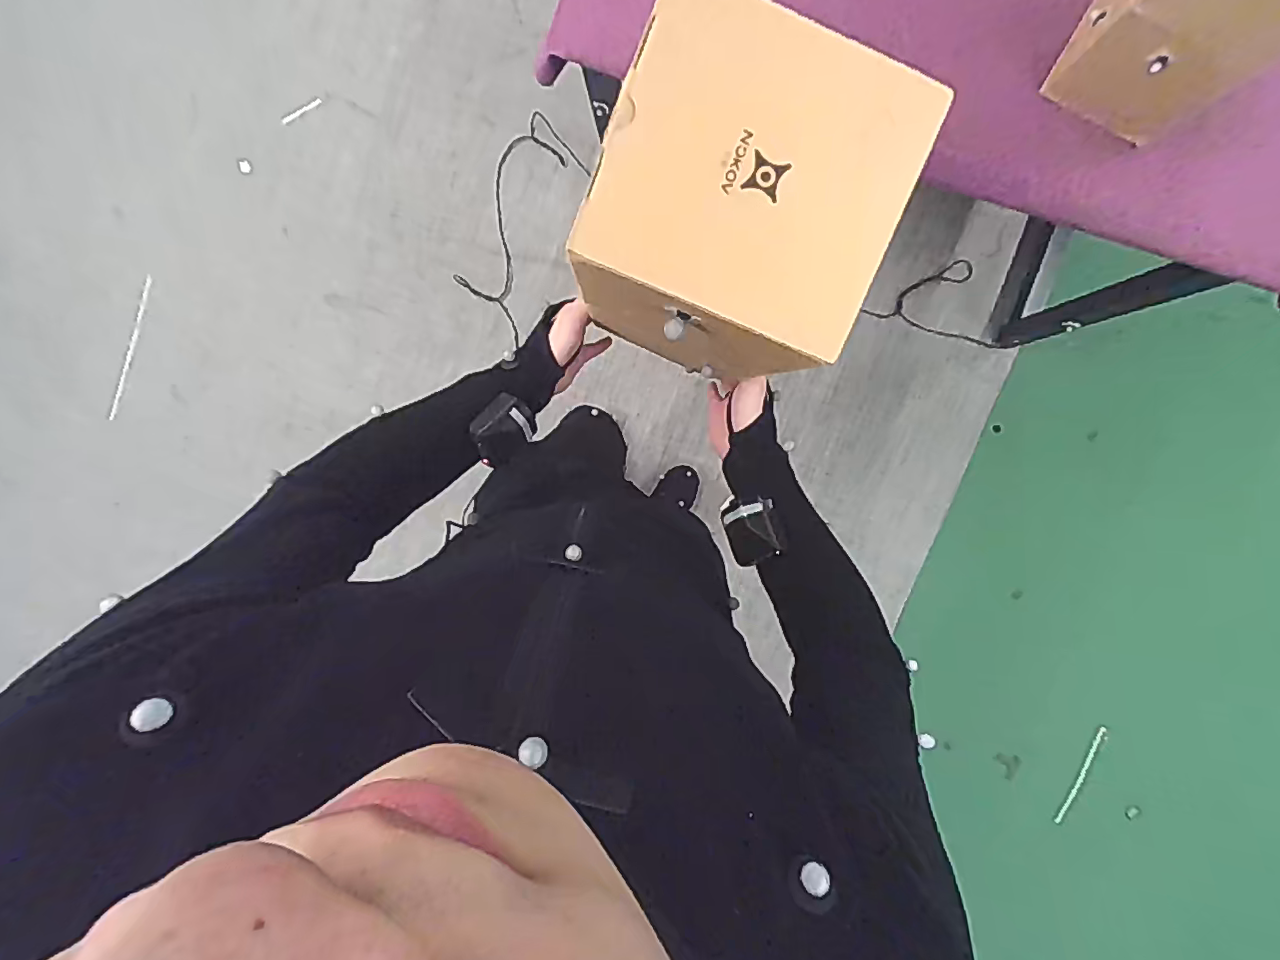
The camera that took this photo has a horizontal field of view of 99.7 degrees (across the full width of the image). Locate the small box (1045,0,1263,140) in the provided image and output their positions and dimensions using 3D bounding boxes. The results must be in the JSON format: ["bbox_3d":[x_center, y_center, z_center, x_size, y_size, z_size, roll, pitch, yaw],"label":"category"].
[{"bbox_3d":[0.702,-0.599,0.717,0.179,0.176,0.168,31,95,1],"label":"small box"}]

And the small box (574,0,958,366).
[{"bbox_3d":[0.069,-0.190,0.387,0.179,0.176,0.168,21,98,-5],"label":"small box"}]

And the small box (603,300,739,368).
[{"bbox_3d":[0.065,-0.255,0.707,0.179,0.176,0.168,23,97,-5],"label":"small box"}]
